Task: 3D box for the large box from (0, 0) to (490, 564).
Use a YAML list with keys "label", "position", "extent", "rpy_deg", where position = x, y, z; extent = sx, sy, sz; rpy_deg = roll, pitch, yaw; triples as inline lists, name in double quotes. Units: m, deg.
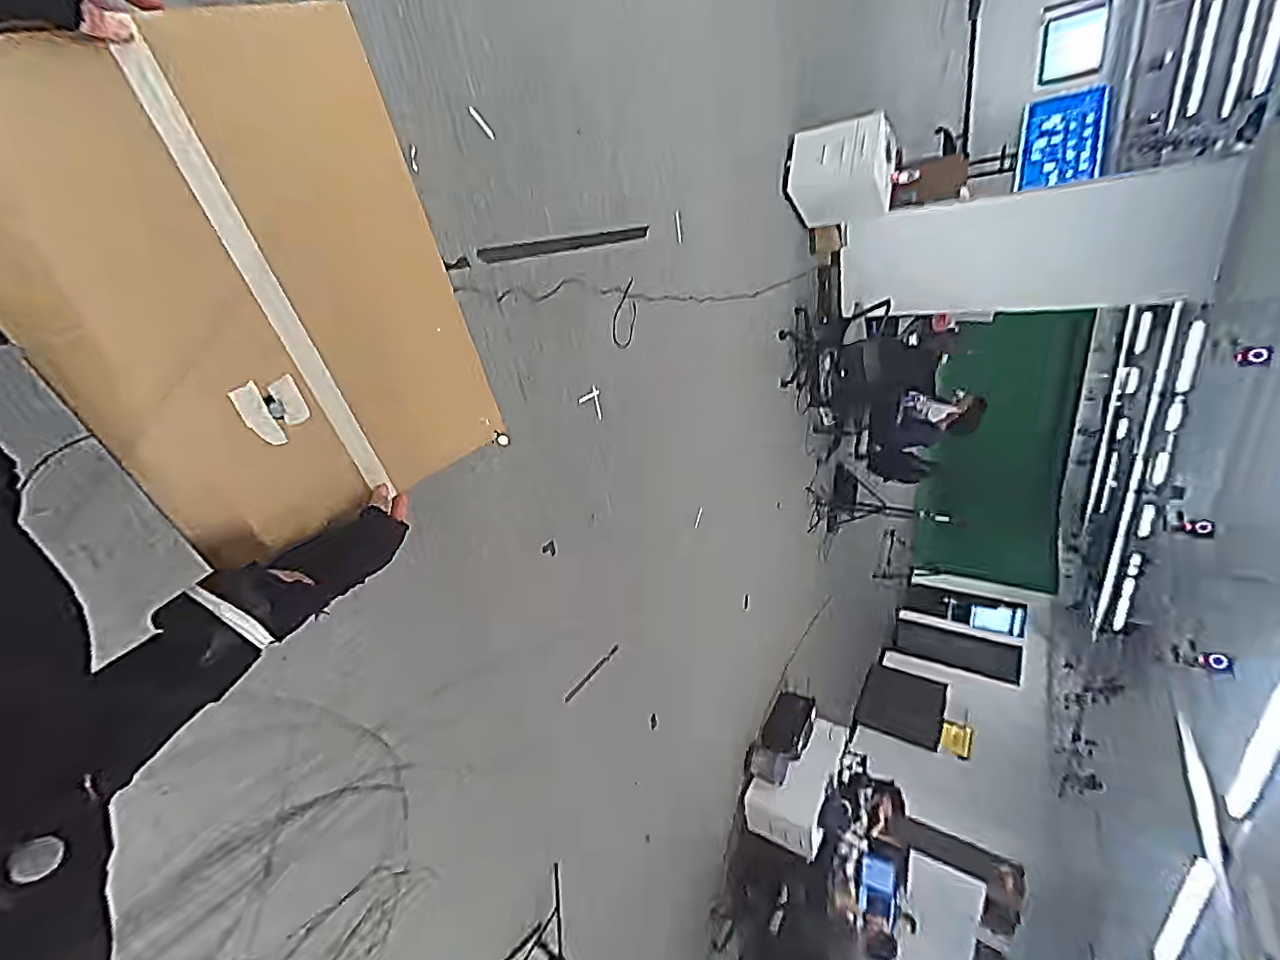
- label: "large box"
  position: [-0.428, -0.199, 0.567]
  extent: [0.320, 0.320, 0.408]
  rpy_deg: [-36, 132, -30]
